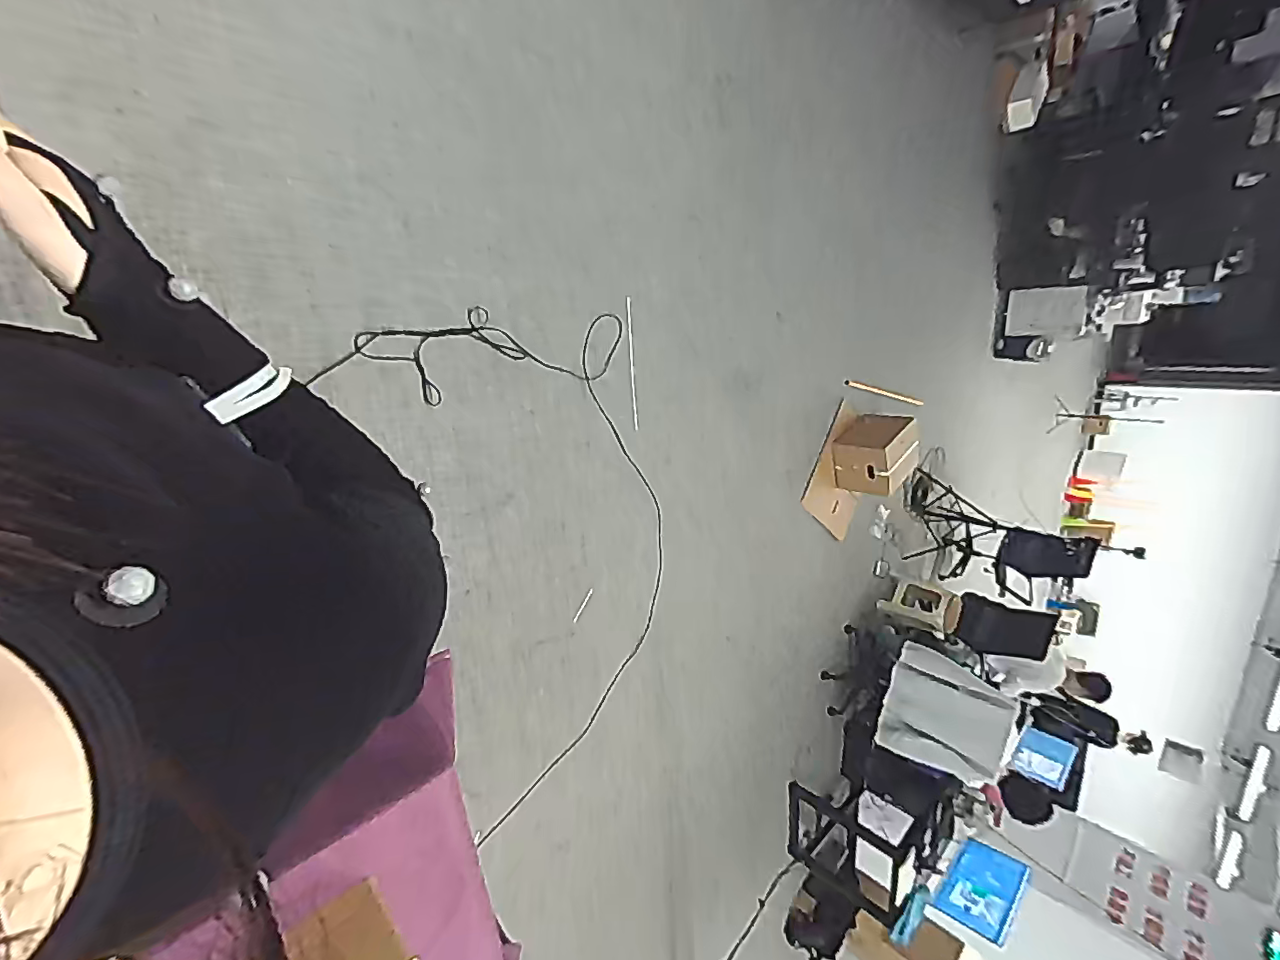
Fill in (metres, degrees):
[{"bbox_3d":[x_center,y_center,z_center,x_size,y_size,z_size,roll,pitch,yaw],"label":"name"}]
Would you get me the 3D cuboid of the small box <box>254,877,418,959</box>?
[{"bbox_3d":[-0.421,0.726,0.764,0.179,0.176,0.168,-18,112,-38],"label":"small box"}]
